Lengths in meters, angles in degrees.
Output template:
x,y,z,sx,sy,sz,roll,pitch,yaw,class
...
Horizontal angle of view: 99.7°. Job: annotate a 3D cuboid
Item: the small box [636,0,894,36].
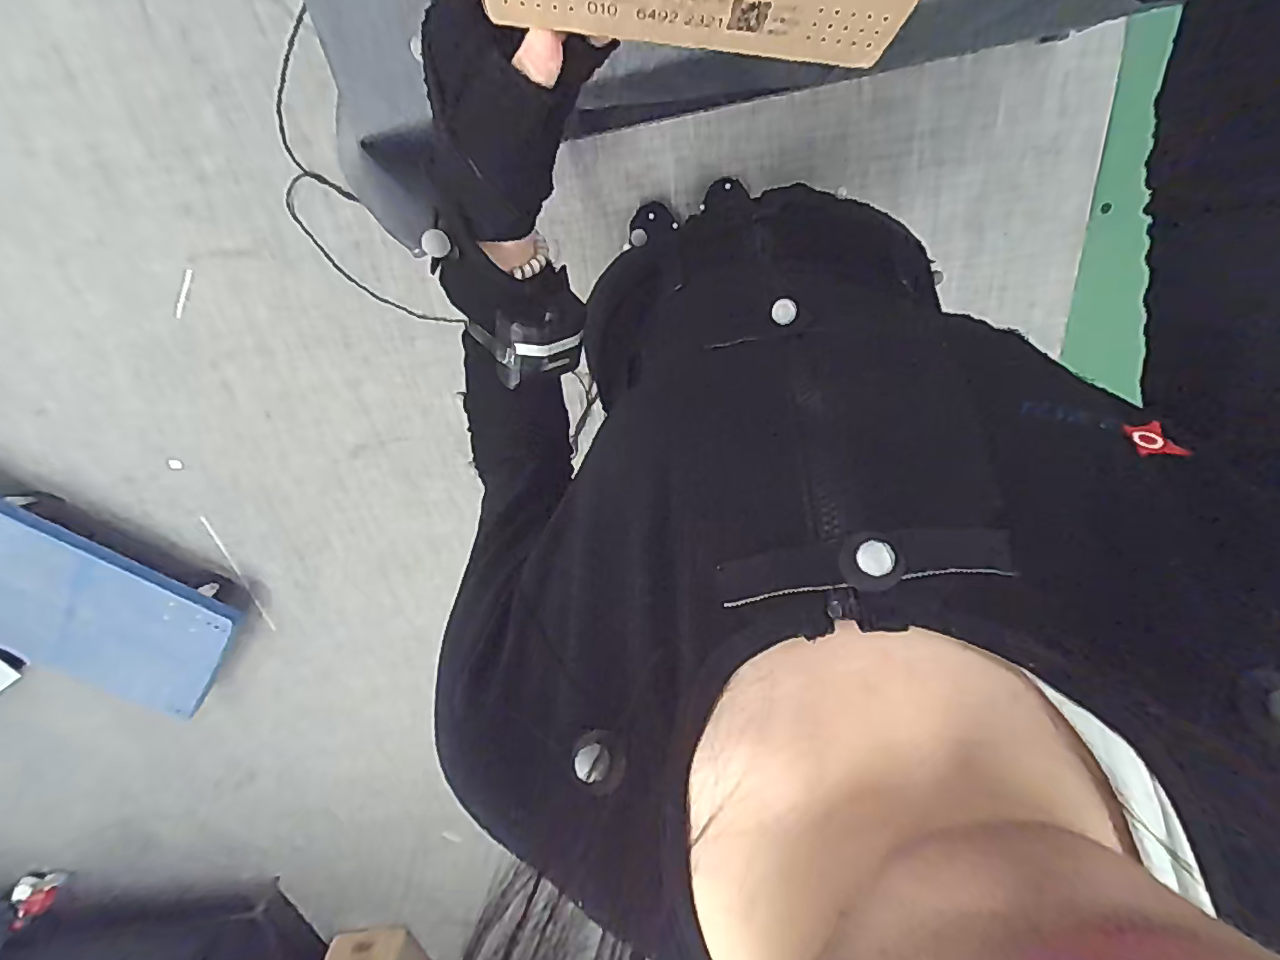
x,y,z,sx,sy,sz,roll,pitch,yaw,class
0.032,-0.270,0.143,0.168,0.176,0.179,3,92,-4,small box
